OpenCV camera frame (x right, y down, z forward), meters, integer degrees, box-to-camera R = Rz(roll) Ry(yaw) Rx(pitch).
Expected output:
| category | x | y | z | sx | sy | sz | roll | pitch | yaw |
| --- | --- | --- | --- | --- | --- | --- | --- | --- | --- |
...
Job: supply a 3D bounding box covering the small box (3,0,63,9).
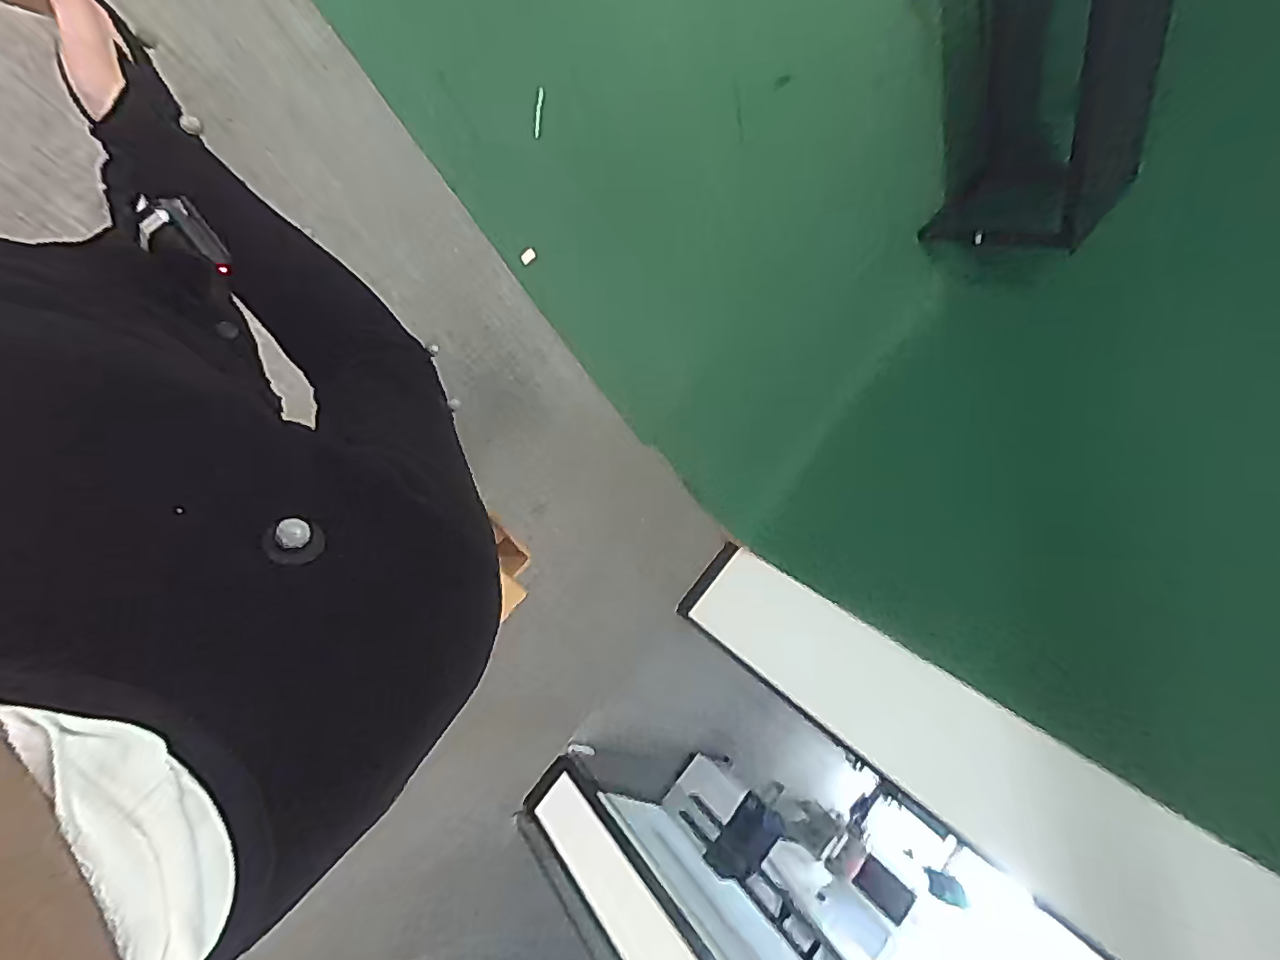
| category | x | y | z | sx | sy | sz | roll | pitch | yaw |
| --- | --- | --- | --- | --- | --- | --- | --- | --- | --- |
| small box | -0.481 | -0.429 | 0.322 | 0.168 | 0.176 | 0.179 | -11 | 122 | -41 |
